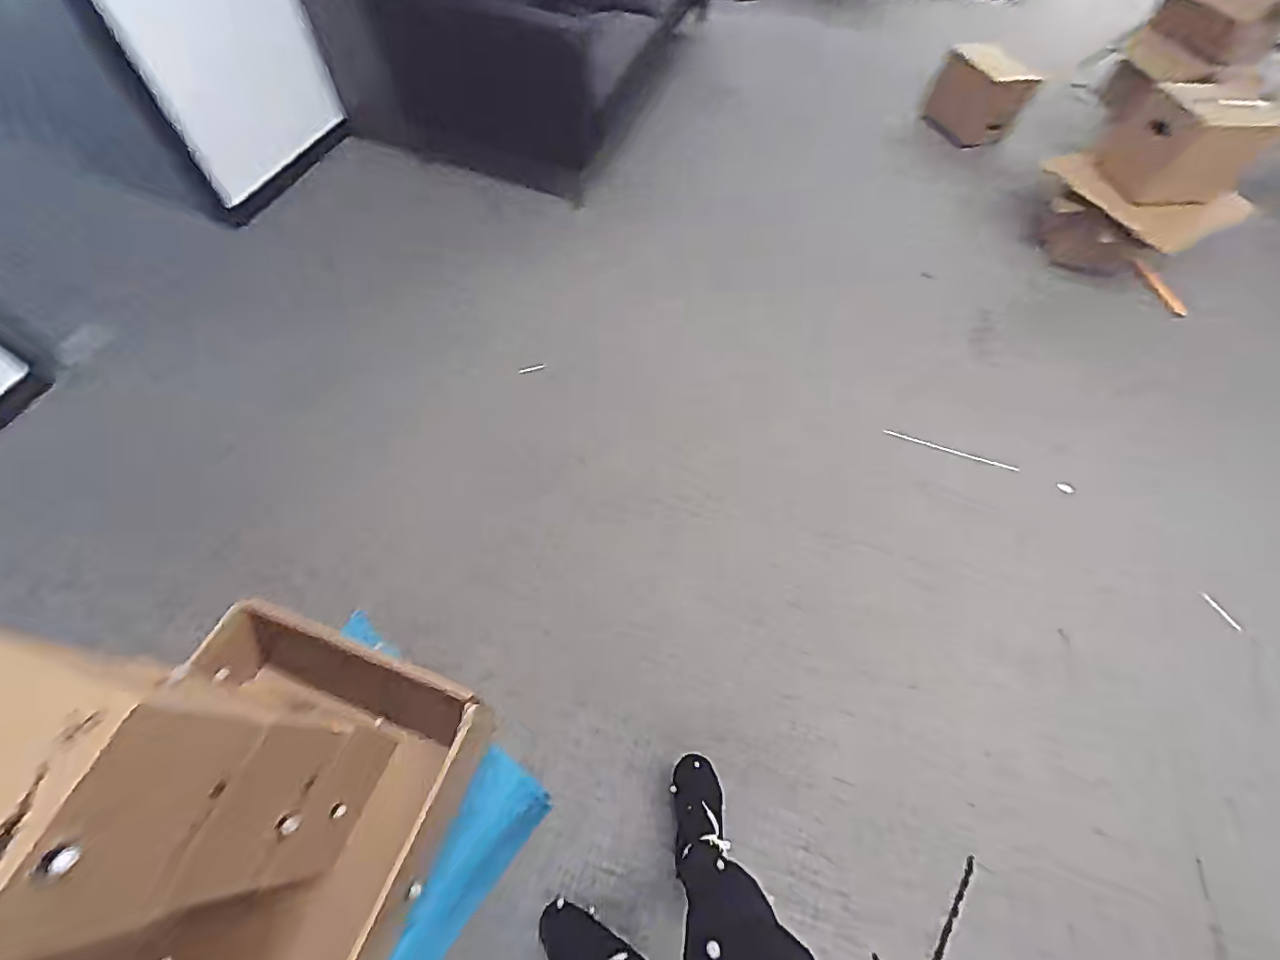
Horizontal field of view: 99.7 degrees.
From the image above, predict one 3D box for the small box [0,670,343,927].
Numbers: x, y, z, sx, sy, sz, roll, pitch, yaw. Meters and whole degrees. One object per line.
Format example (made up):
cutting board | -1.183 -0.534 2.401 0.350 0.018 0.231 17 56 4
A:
small box | -0.464 0.323 0.569 0.179 0.176 0.168 17 61 8
